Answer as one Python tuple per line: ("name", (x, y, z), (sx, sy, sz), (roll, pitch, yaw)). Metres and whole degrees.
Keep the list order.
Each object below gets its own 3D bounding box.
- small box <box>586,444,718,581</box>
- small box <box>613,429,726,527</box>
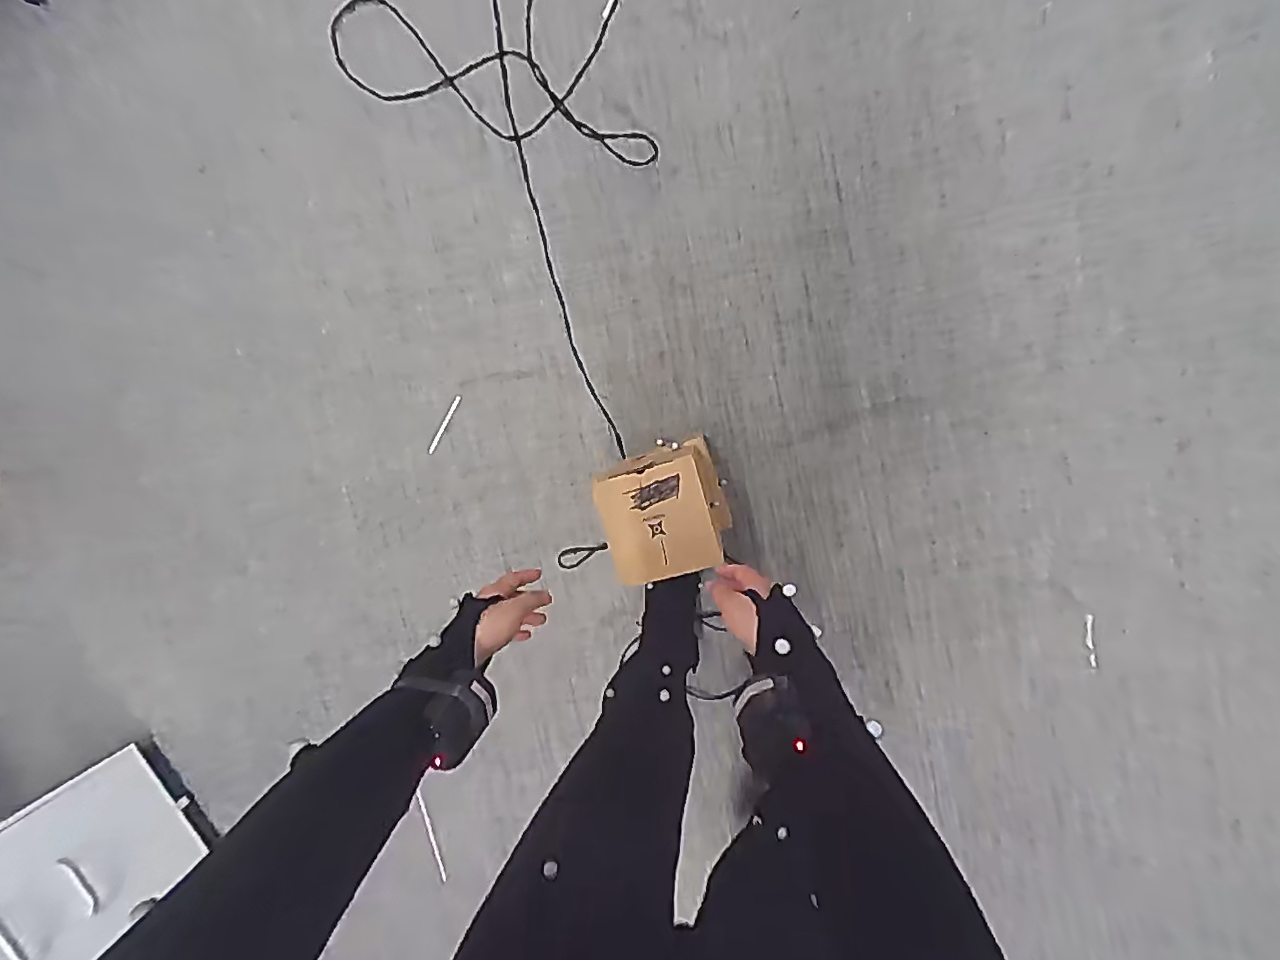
("small box", (0.026, 0.043, 0.892), (0.168, 0.176, 0.179), (-15, 97, 10))
("small box", (0.062, 0.009, 1.049), (0.168, 0.176, 0.179), (-19, 96, 9))
